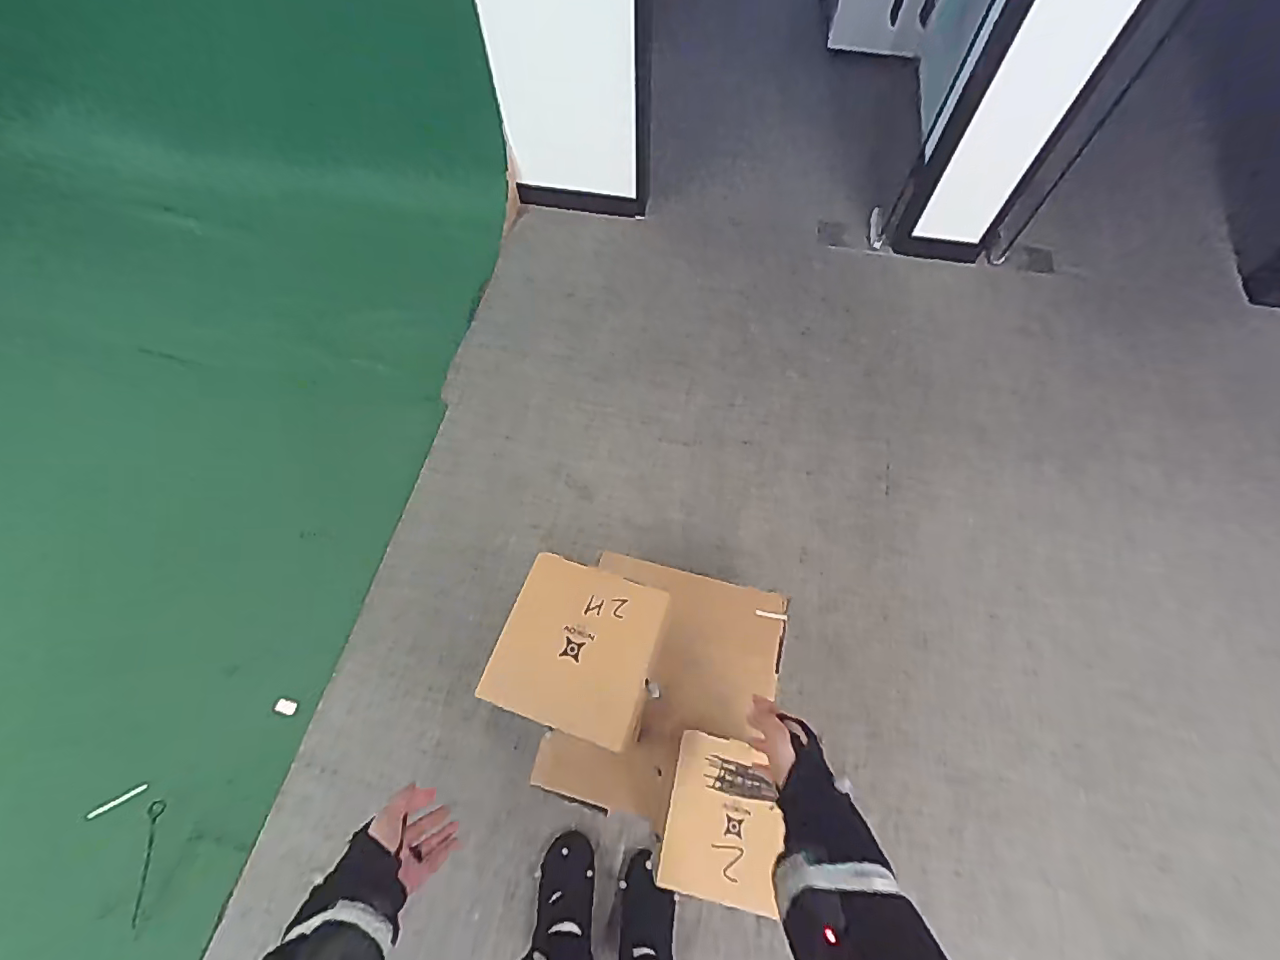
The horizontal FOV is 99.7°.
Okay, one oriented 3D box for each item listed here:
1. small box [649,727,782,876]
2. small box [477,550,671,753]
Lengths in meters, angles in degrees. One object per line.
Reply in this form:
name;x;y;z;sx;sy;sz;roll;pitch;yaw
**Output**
small box;0.117;0.511;0.880;0.179;0.176;0.168;11;63;5
small box;-0.067;0.214;0.660;0.168;0.176;0.179;17;64;9
